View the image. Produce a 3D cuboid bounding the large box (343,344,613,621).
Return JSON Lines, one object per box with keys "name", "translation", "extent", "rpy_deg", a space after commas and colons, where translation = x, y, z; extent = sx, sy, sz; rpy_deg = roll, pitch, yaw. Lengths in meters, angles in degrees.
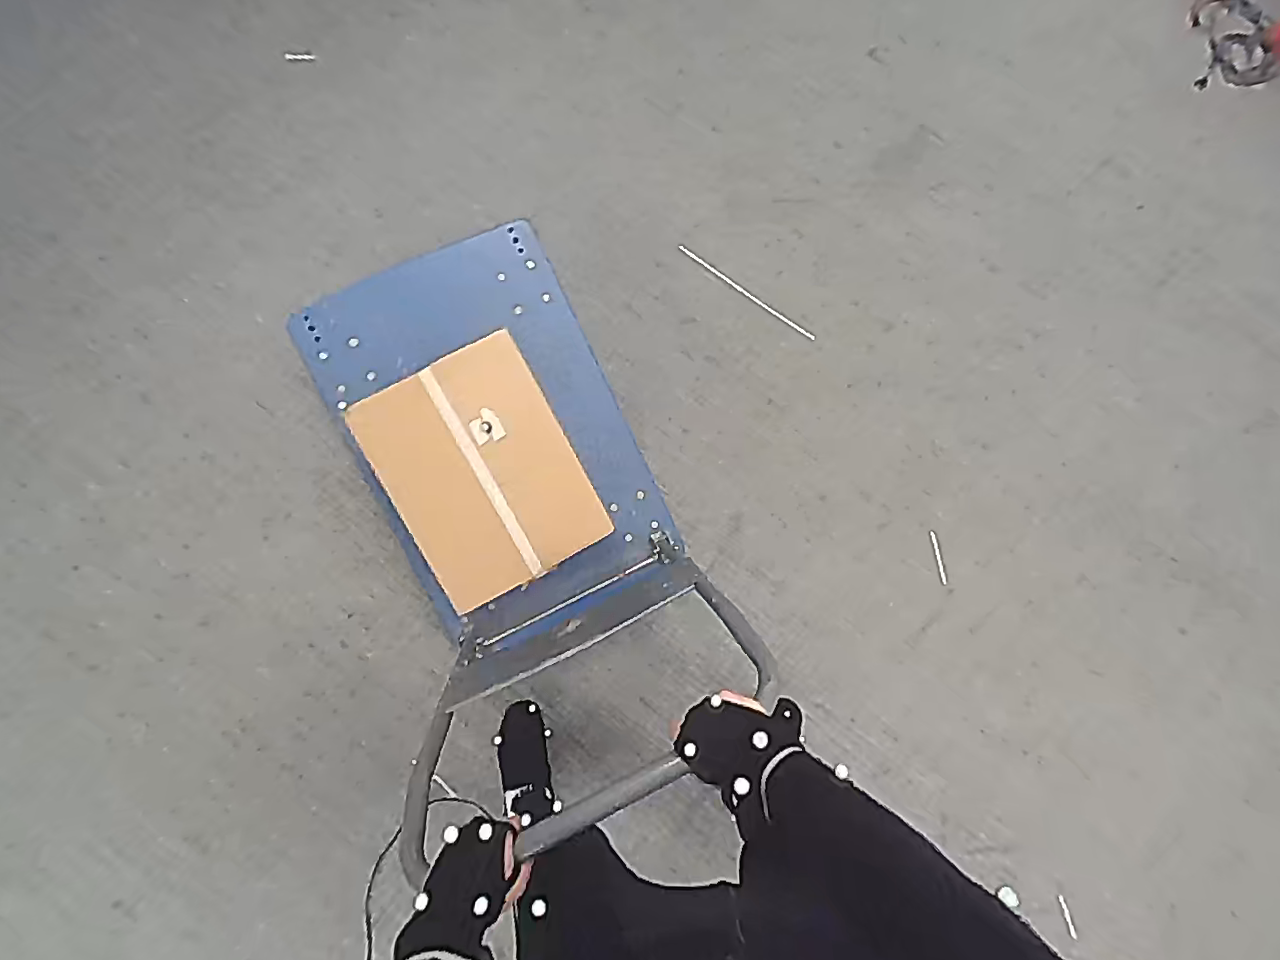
{"name": "large box", "translation": [-0.290, 0.001, 1.089], "extent": [0.320, 0.320, 0.408], "rpy_deg": [-30, 96, -5]}
